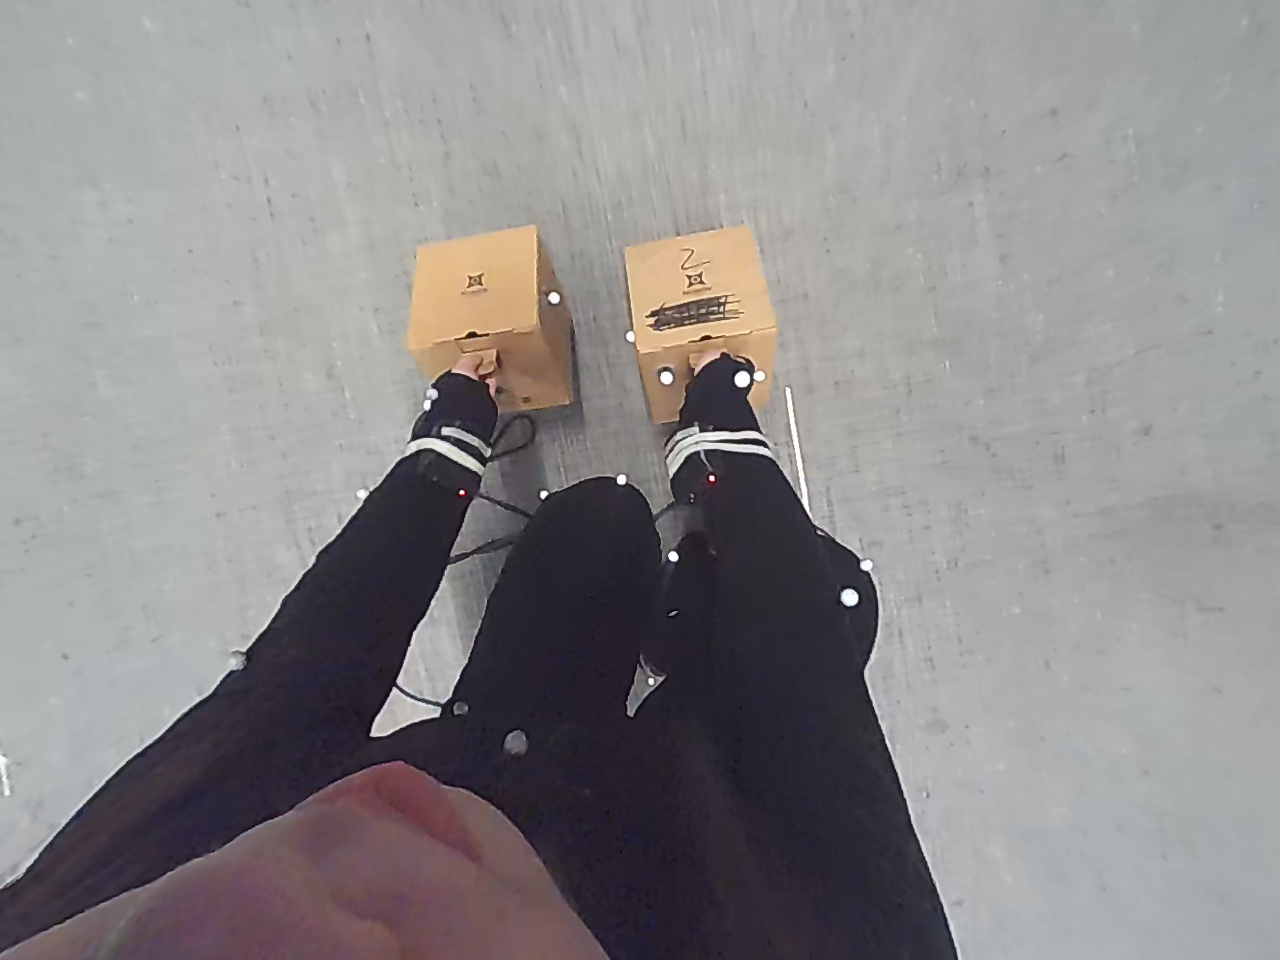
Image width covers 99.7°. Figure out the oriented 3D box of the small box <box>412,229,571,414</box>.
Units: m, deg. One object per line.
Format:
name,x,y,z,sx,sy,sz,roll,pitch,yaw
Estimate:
small box,-0.197,-0.217,0.767,0.168,0.176,0.179,-7,65,5
